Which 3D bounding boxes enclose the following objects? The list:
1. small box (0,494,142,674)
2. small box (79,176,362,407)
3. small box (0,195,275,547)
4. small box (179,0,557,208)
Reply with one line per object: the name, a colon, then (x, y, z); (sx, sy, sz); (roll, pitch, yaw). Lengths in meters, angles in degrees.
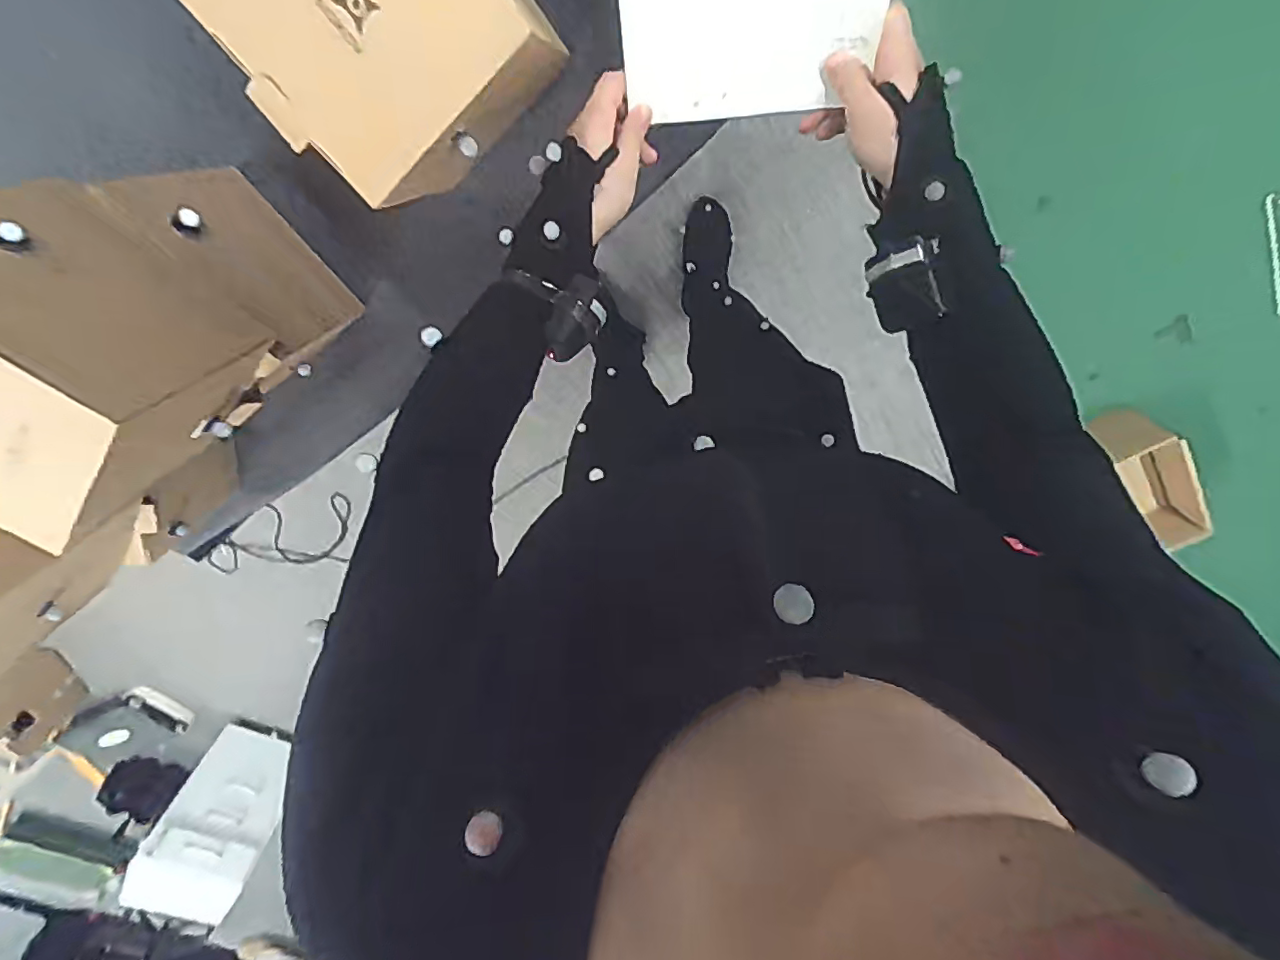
small box: (-0.650, 0.067, 0.533); (0.168, 0.176, 0.179); (34, 121, -19)
small box: (-0.433, -0.180, 0.548); (0.168, 0.176, 0.179); (-28, 119, 22)
small box: (-0.437, -0.089, 0.414); (0.179, 0.176, 0.168); (39, 119, -22)
small box: (-0.182, -0.349, 0.416); (0.179, 0.176, 0.168); (-32, 117, 24)
